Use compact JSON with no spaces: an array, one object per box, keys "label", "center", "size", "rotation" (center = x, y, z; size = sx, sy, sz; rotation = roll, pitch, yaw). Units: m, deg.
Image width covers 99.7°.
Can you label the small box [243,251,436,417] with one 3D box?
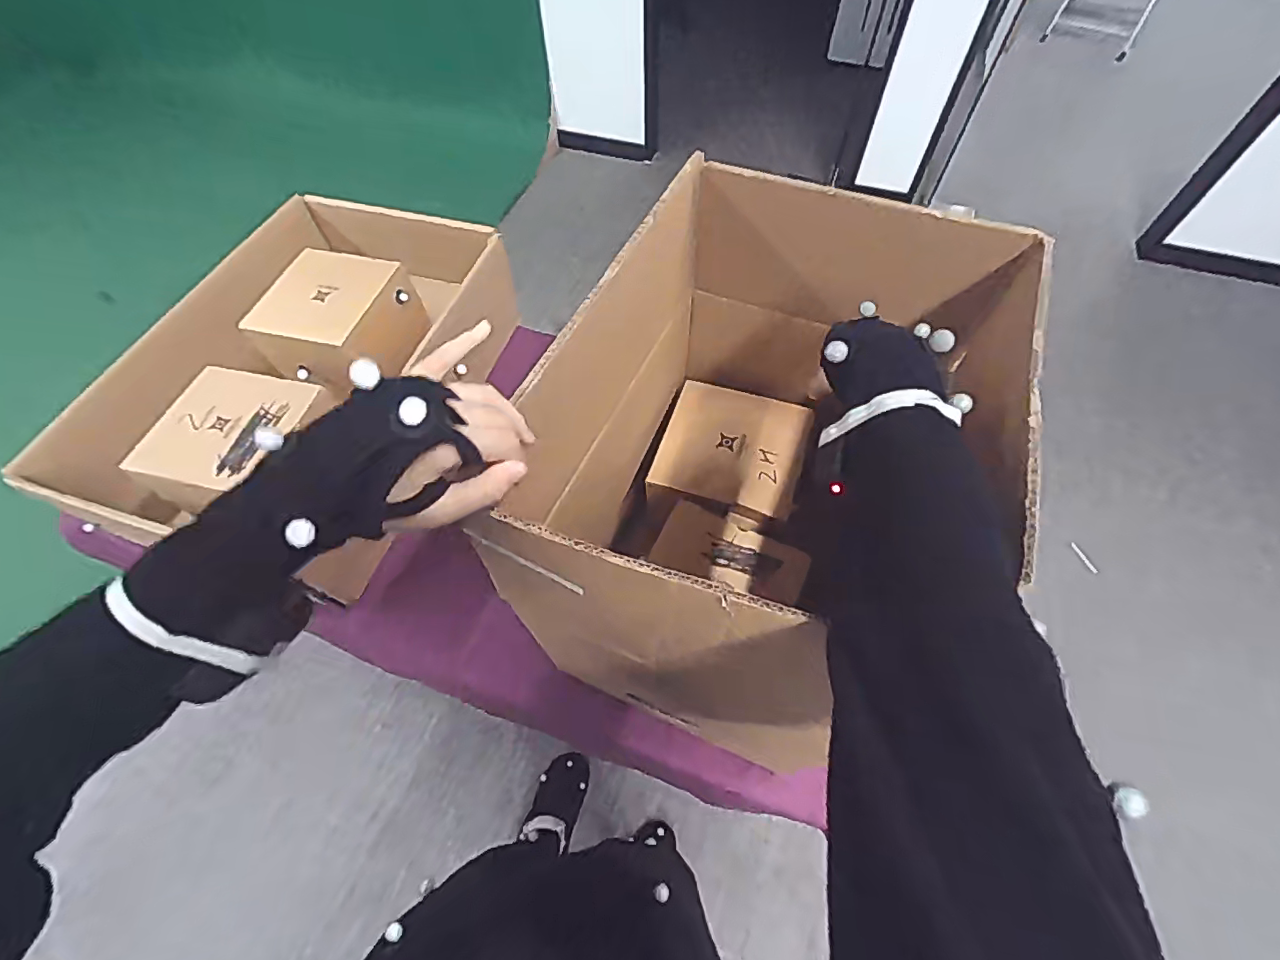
[{"label":"small box","center":[-0.448,-0.222,0.844],"size":[0.168,0.176,0.179],"rotation":[12,60,10]}]
